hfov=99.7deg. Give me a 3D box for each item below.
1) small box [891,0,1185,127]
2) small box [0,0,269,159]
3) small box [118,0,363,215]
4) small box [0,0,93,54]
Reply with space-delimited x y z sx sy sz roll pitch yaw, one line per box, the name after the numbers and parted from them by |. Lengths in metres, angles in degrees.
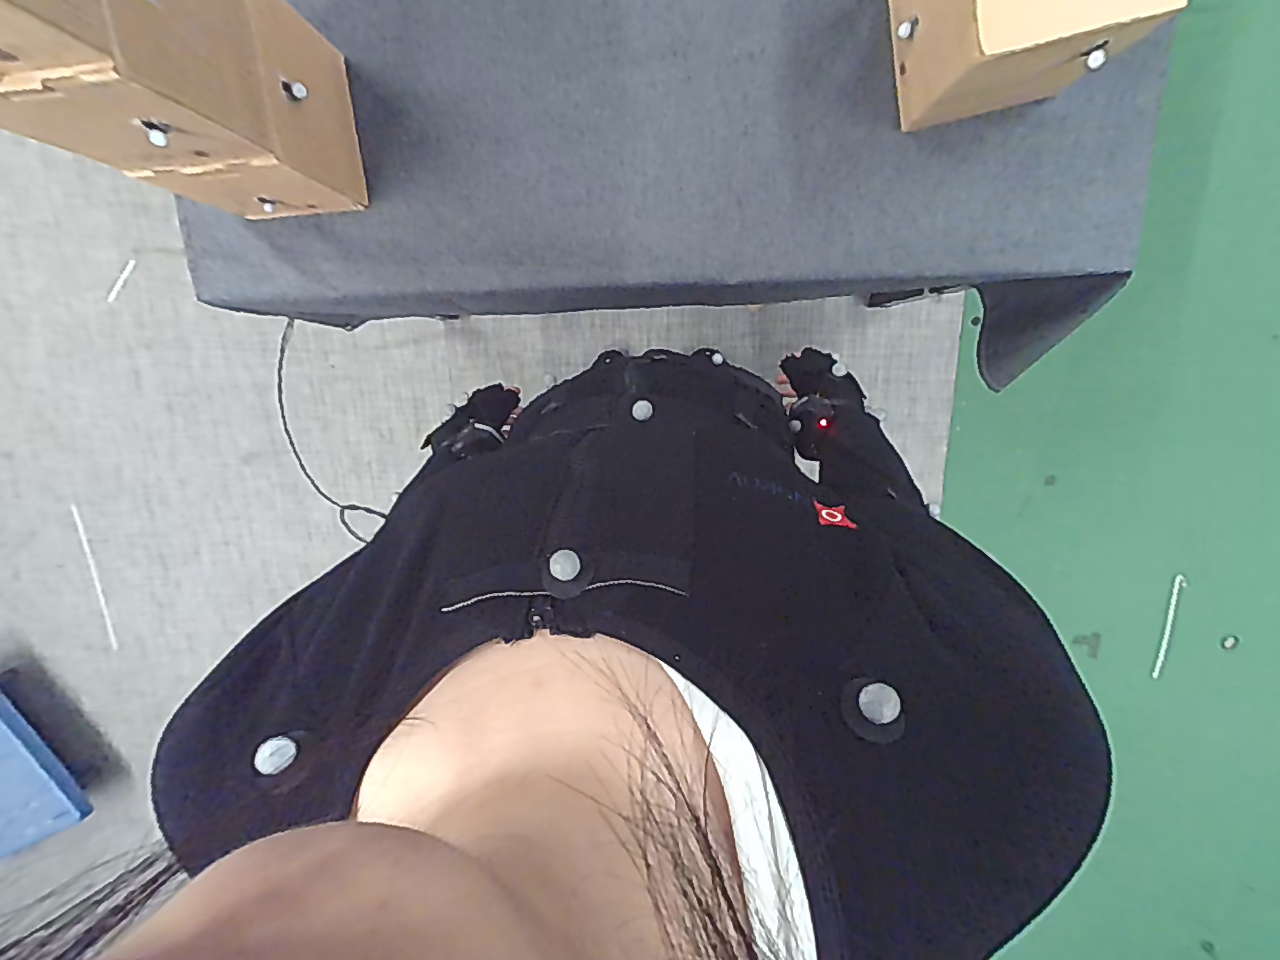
0.373 -0.486 0.533 0.179 0.176 0.168 -11 102 6 | small box
-0.442 -0.379 0.436 0.168 0.176 0.179 -3 103 2 | small box
-0.437 -0.412 0.595 0.168 0.176 0.179 -3 103 3 | small box
-0.449 -0.349 0.274 0.168 0.176 0.179 -4 103 2 | small box
